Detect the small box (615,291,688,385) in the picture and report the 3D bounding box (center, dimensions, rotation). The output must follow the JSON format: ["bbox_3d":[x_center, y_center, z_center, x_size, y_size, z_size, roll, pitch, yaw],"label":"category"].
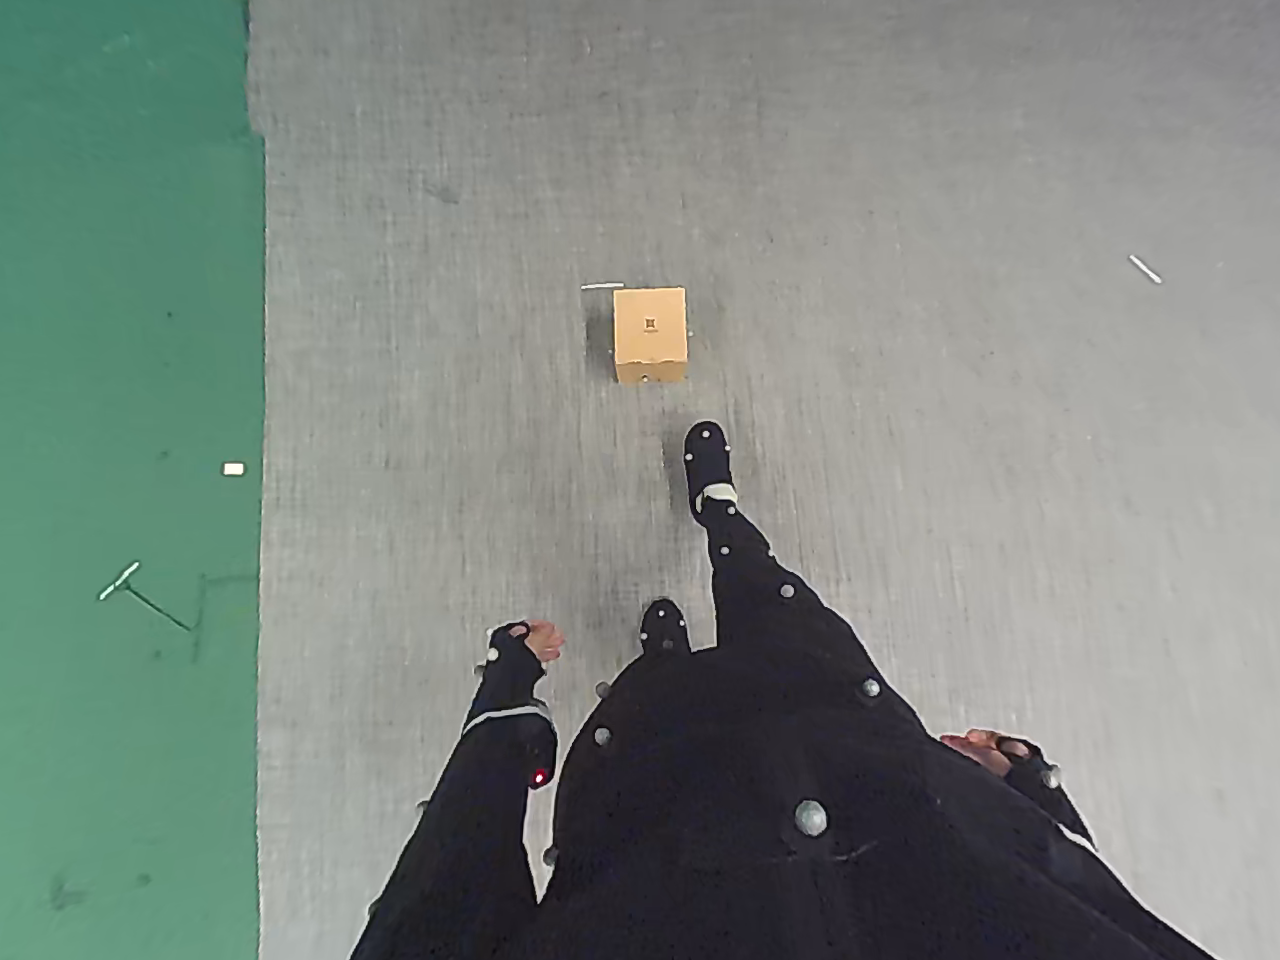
[{"bbox_3d":[0.024,-0.338,1.307,0.168,0.176,0.179,-2,85,0],"label":"small box"}]
